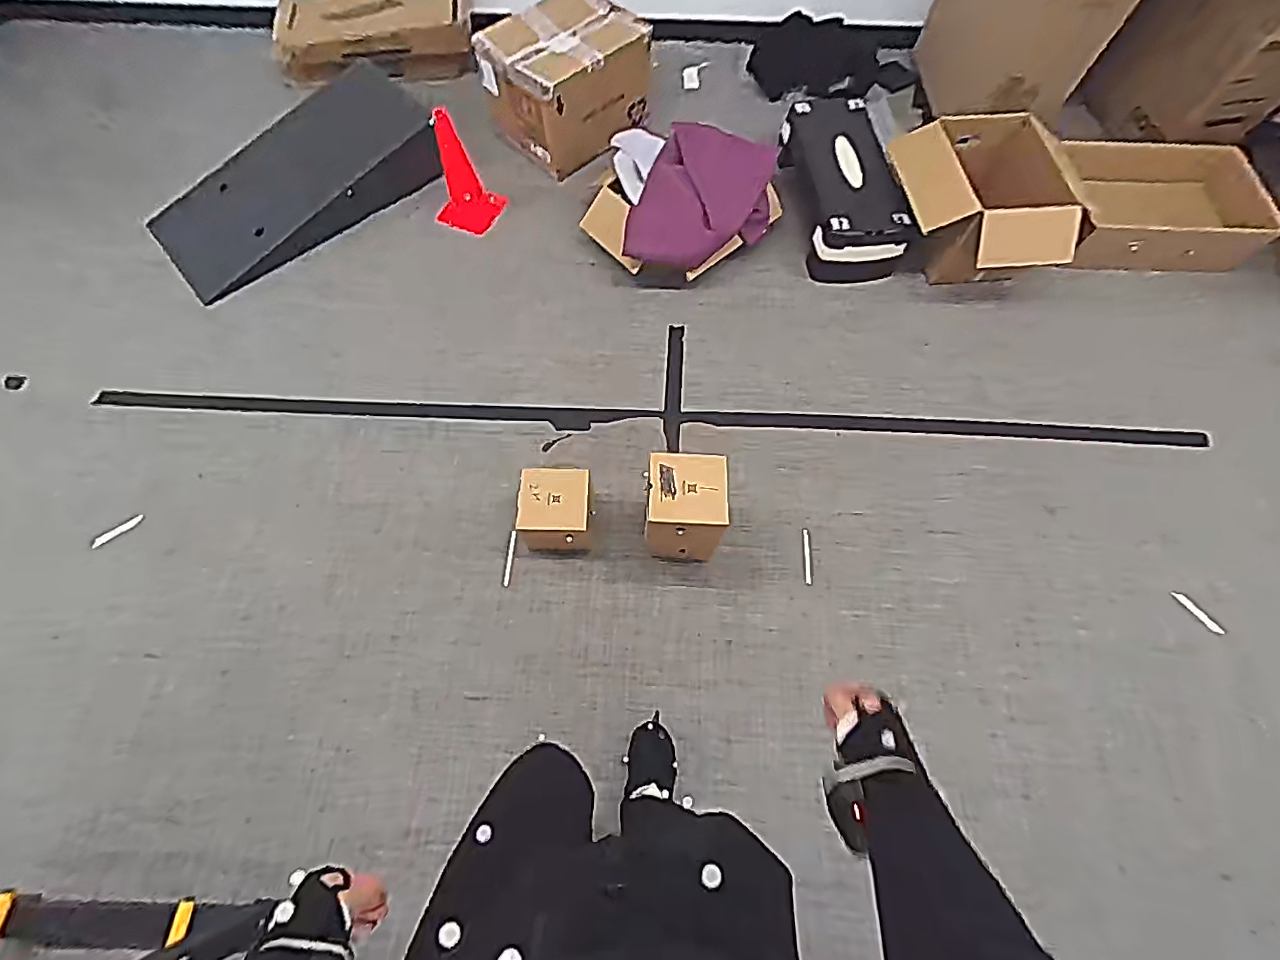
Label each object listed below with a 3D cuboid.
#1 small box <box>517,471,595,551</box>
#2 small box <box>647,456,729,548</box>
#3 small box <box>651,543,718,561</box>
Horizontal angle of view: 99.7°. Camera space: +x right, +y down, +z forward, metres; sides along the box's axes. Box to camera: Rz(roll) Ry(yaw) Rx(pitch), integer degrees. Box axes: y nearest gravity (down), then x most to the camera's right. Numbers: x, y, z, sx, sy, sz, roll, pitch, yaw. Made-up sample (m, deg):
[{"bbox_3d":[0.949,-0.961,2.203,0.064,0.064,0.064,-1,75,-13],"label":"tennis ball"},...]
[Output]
[{"bbox_3d":[-0.211,0.086,1.419,0.179,0.176,0.168,1,66,1],"label":"small box"},{"bbox_3d":[0.107,0.055,1.256,0.179,0.176,0.168,3,67,0],"label":"small box"},{"bbox_3d":[0.116,0.106,1.415,0.168,0.176,0.179,4,68,1],"label":"small box"}]
